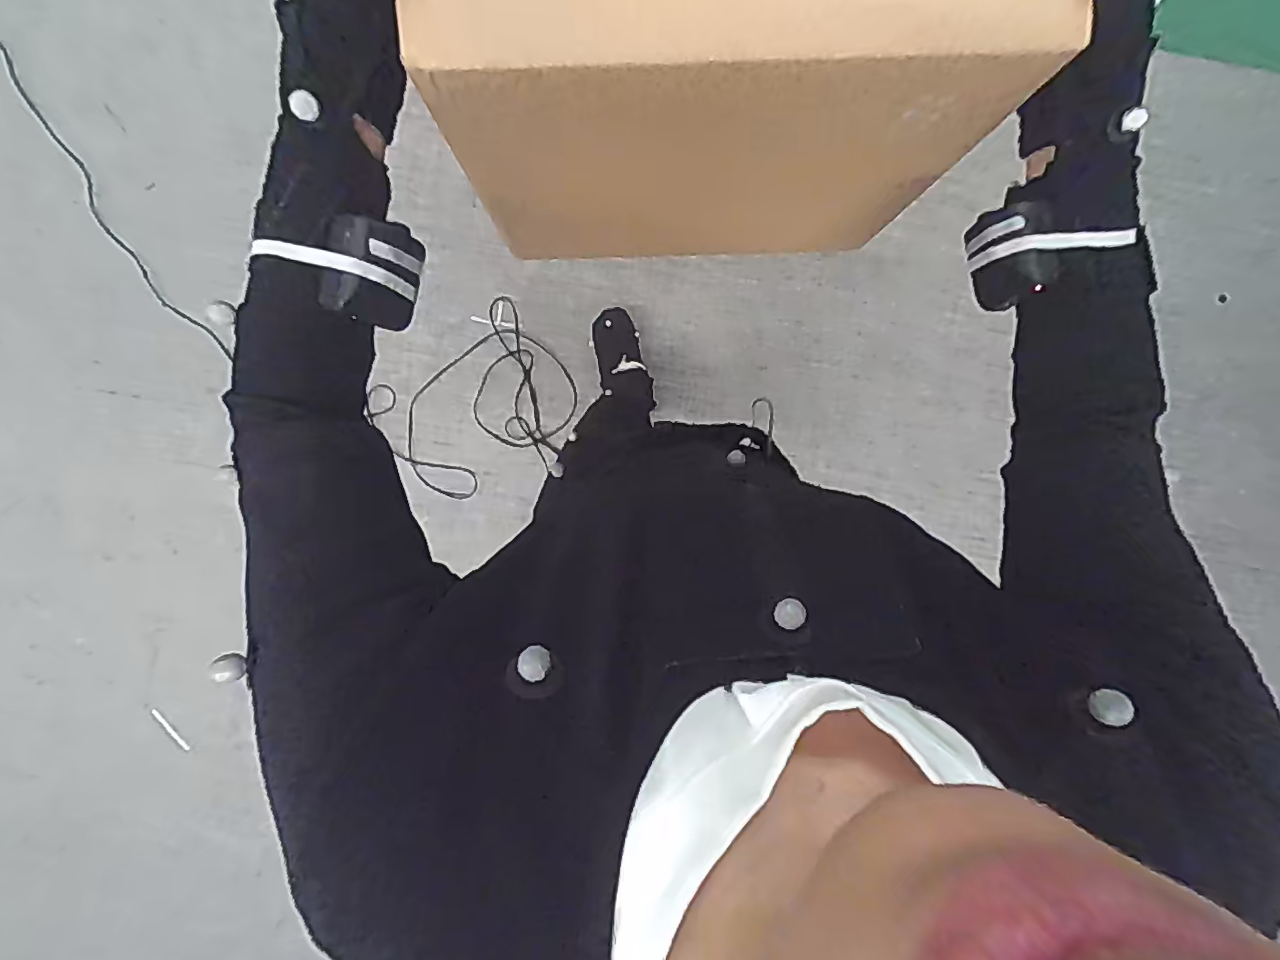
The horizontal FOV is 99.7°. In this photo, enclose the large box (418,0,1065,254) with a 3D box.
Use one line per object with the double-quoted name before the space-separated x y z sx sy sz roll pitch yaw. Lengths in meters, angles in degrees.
"large box" 0.050 -0.417 0.472 0.408 0.320 0.320 -3 93 -2
